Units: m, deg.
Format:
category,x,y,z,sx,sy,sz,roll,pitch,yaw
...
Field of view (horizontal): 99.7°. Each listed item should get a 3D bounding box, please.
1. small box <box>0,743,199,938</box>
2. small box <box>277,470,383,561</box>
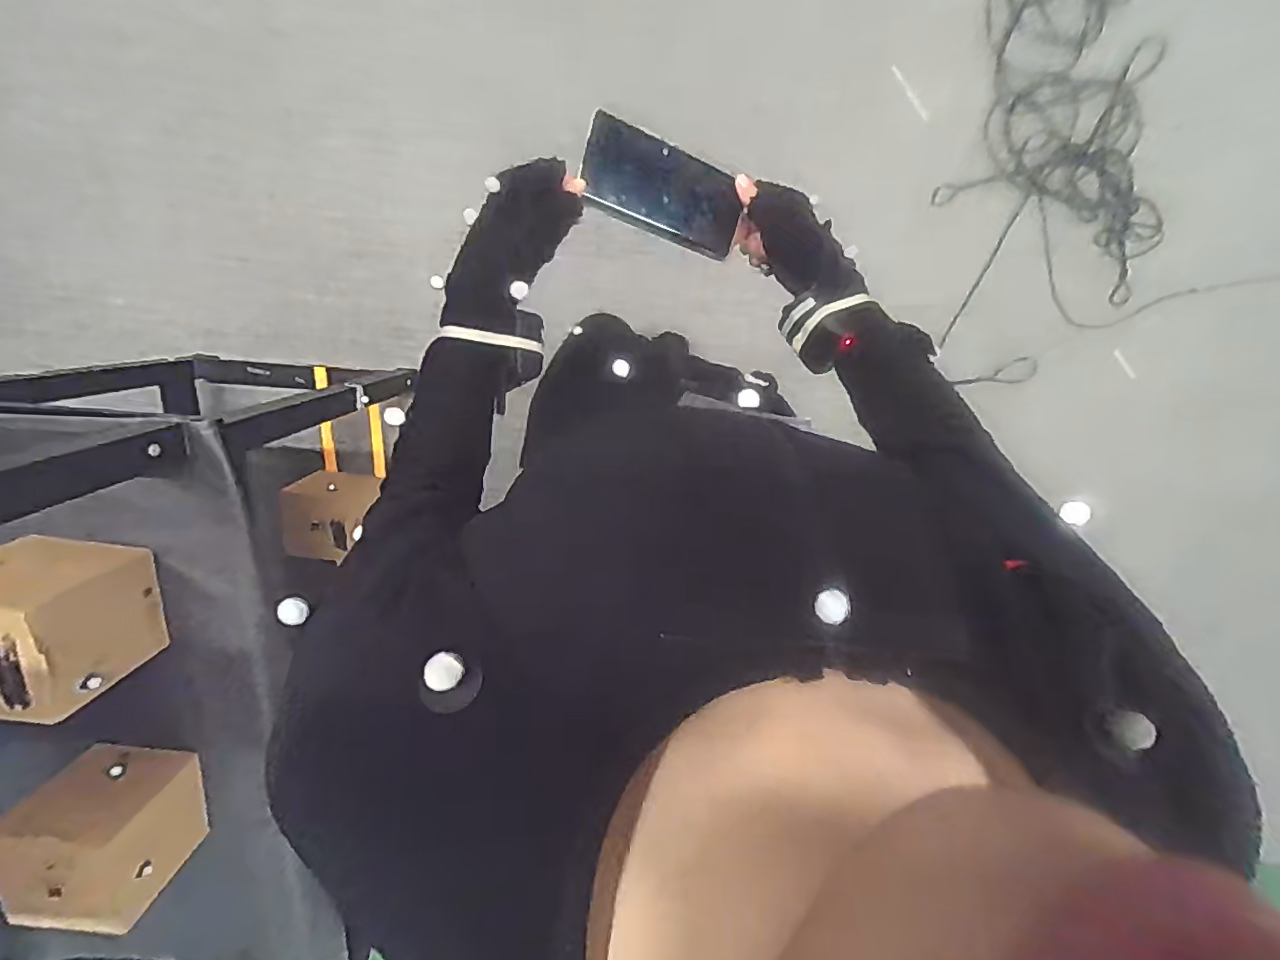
category,x,y,z,sx,sy,sz,roll,pitch,yaw
small box,-0.818,0.540,0.822,0.168,0.176,0.179,7,108,-3
small box,-0.752,0.082,1.331,0.179,0.176,0.168,7,107,-3
